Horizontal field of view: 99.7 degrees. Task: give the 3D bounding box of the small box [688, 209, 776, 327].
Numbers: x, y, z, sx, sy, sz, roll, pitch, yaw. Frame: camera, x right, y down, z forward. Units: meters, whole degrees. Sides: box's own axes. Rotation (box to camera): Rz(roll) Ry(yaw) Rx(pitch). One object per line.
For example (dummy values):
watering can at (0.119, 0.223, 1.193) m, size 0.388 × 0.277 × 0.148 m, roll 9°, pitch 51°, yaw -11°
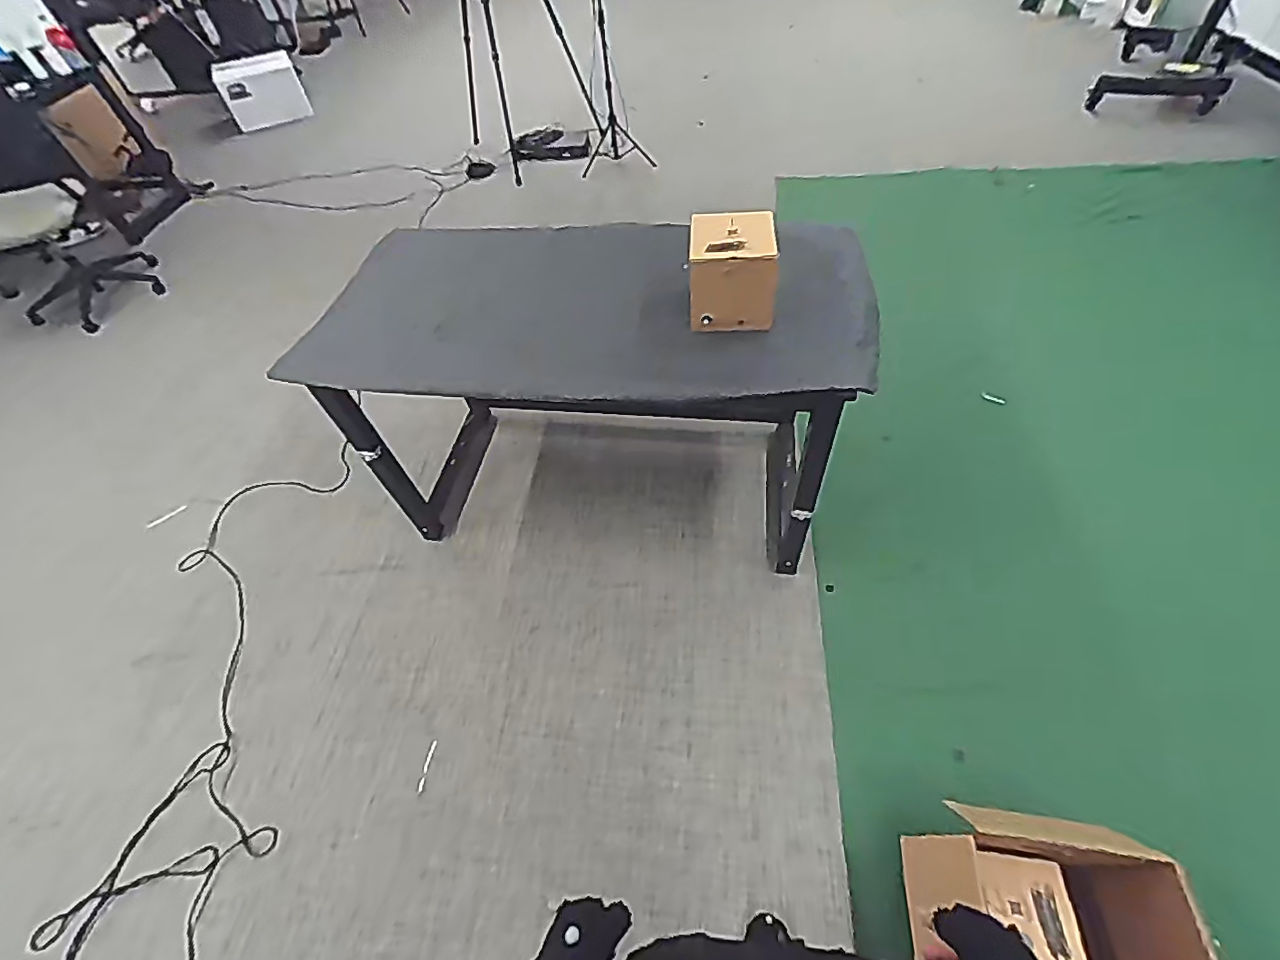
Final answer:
small box at (0.186, -0.432, 1.117) m, size 0.168 × 0.176 × 0.179 m, roll 1°, pitch 52°, yaw 7°
